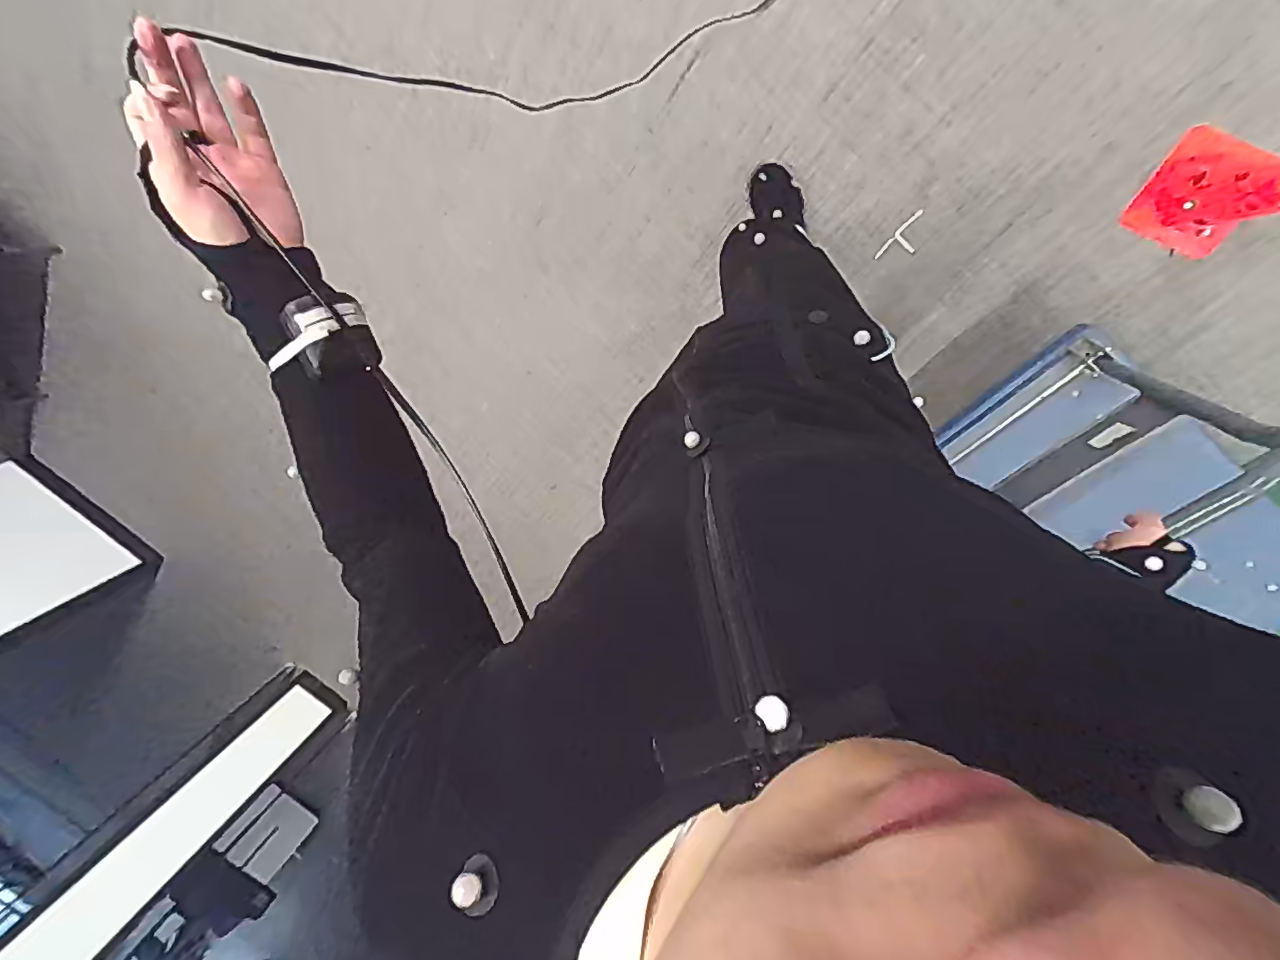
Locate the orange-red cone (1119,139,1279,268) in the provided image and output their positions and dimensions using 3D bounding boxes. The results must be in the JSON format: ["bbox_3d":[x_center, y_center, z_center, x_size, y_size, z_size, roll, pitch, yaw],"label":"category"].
[{"bbox_3d":[1.107,-0.504,0.975,0.198,0.360,0.199,28,118,2],"label":"orange-red cone"}]
